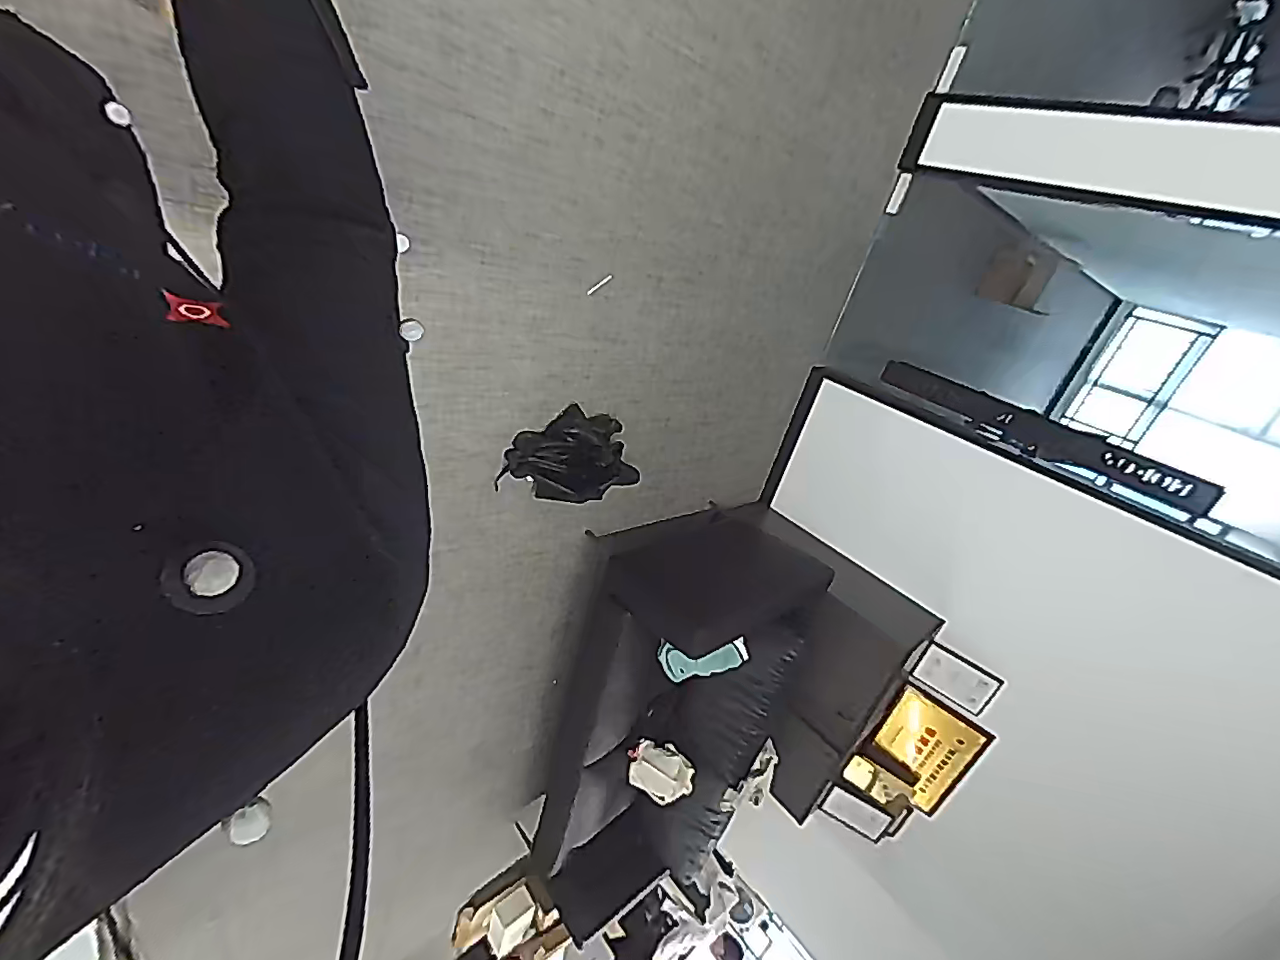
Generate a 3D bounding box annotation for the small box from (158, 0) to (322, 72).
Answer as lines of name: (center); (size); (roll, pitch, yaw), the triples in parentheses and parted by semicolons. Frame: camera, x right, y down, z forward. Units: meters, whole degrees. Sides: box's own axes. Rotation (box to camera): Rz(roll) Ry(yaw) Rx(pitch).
small box: (-0.543, -0.694, 0.732); (0.168, 0.176, 0.179); (-5, 124, -45)
